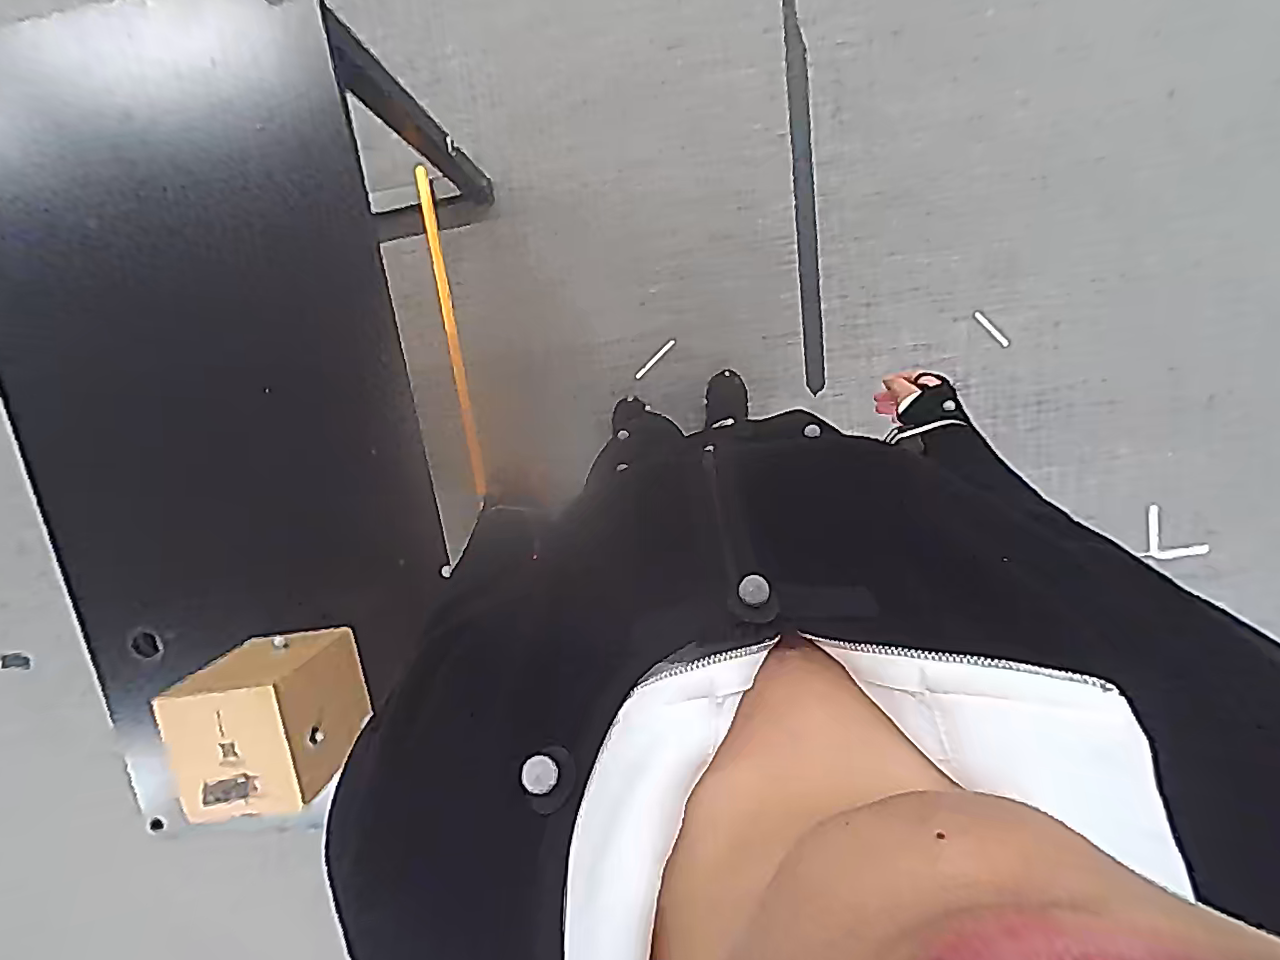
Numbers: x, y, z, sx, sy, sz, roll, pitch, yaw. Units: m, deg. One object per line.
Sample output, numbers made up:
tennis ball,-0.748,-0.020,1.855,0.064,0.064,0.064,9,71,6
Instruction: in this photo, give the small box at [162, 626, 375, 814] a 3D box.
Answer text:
small box,-0.508,0.331,0.769,0.168,0.176,0.179,-8,99,5
